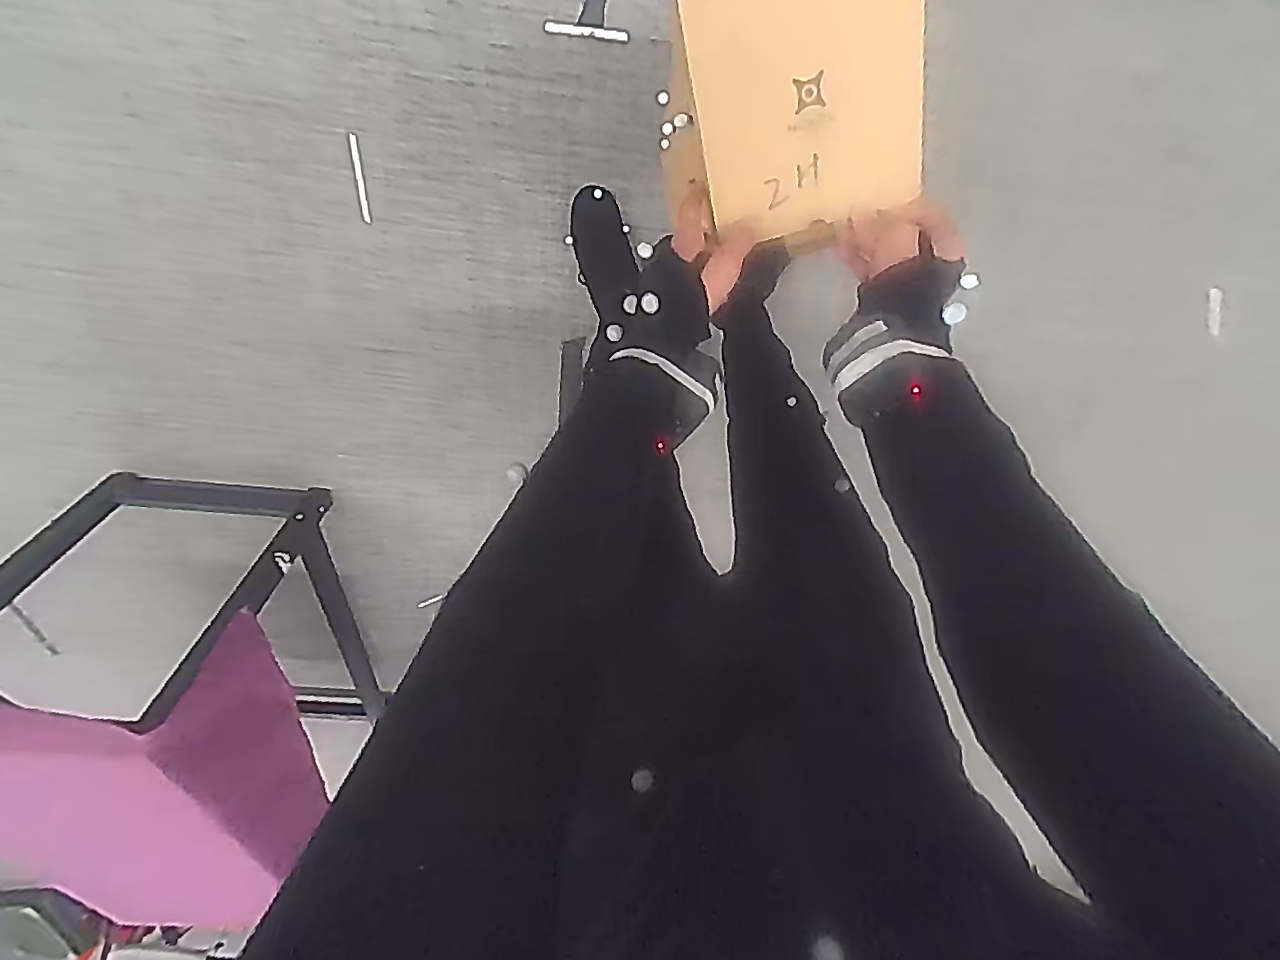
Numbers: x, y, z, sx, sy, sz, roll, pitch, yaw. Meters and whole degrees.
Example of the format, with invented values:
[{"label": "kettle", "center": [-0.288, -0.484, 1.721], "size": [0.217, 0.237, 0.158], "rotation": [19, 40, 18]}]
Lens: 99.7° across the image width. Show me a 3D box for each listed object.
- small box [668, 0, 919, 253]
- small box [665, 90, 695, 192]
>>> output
[{"label": "small box", "center": [0.122, -0.329, 0.472], "size": [0.168, 0.176, 0.179], "rotation": [-11, 129, 10]}, {"label": "small box", "center": [0.131, -0.505, 0.752], "size": [0.168, 0.176, 0.179], "rotation": [7, 130, -7]}]
